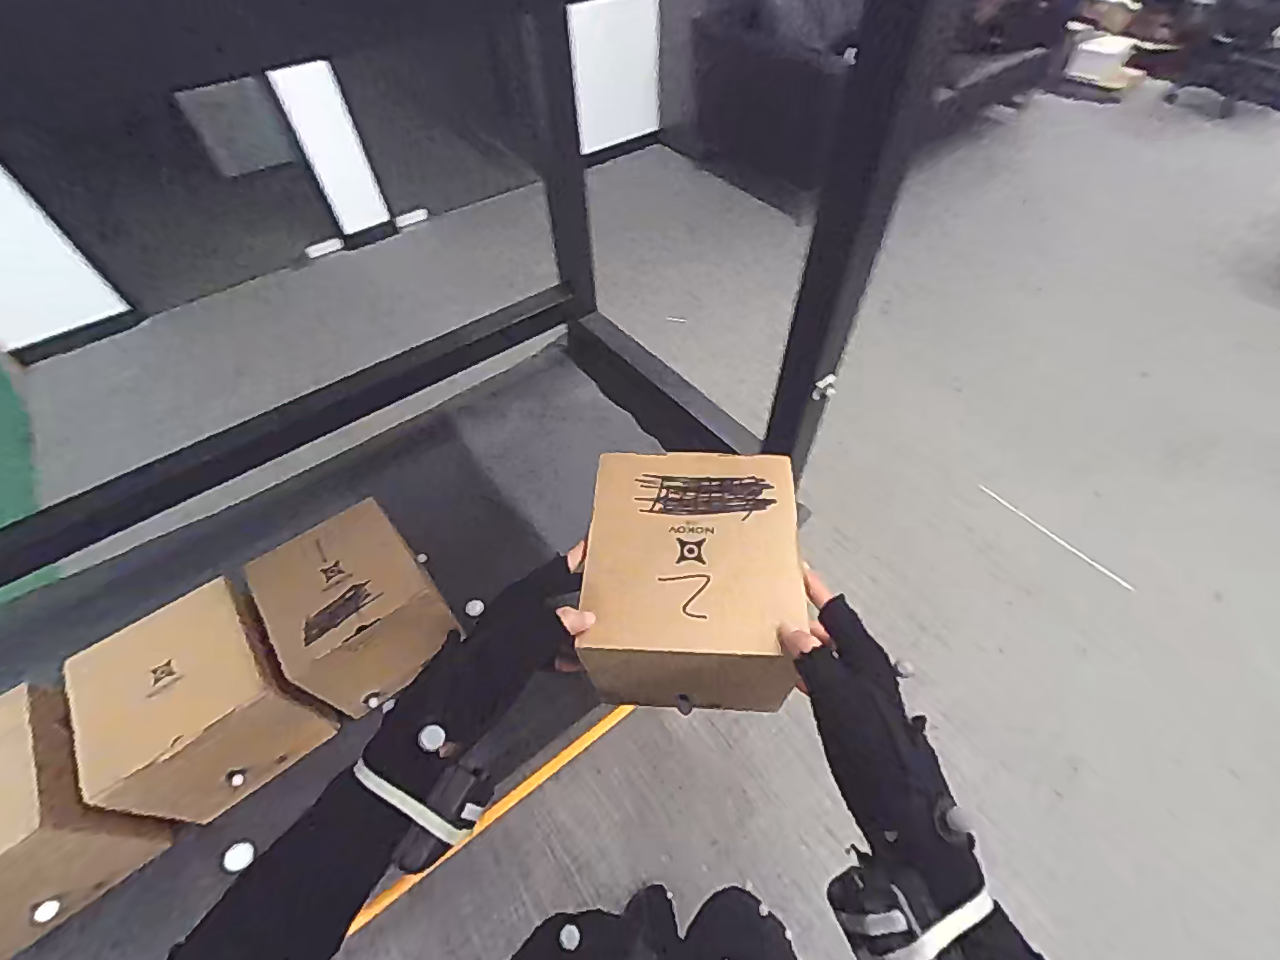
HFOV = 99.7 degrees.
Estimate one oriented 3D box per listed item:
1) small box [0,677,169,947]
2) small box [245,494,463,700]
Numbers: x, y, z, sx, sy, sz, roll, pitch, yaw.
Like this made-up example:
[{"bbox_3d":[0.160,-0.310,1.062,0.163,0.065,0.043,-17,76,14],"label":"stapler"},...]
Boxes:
[{"bbox_3d":[-0.650,0.348,0.565,0.168,0.176,0.179,-34,58,-21],"label":"small box"},{"bbox_3d":[-0.356,0.159,0.700,0.168,0.176,0.179,-33,57,-21],"label":"small box"}]
